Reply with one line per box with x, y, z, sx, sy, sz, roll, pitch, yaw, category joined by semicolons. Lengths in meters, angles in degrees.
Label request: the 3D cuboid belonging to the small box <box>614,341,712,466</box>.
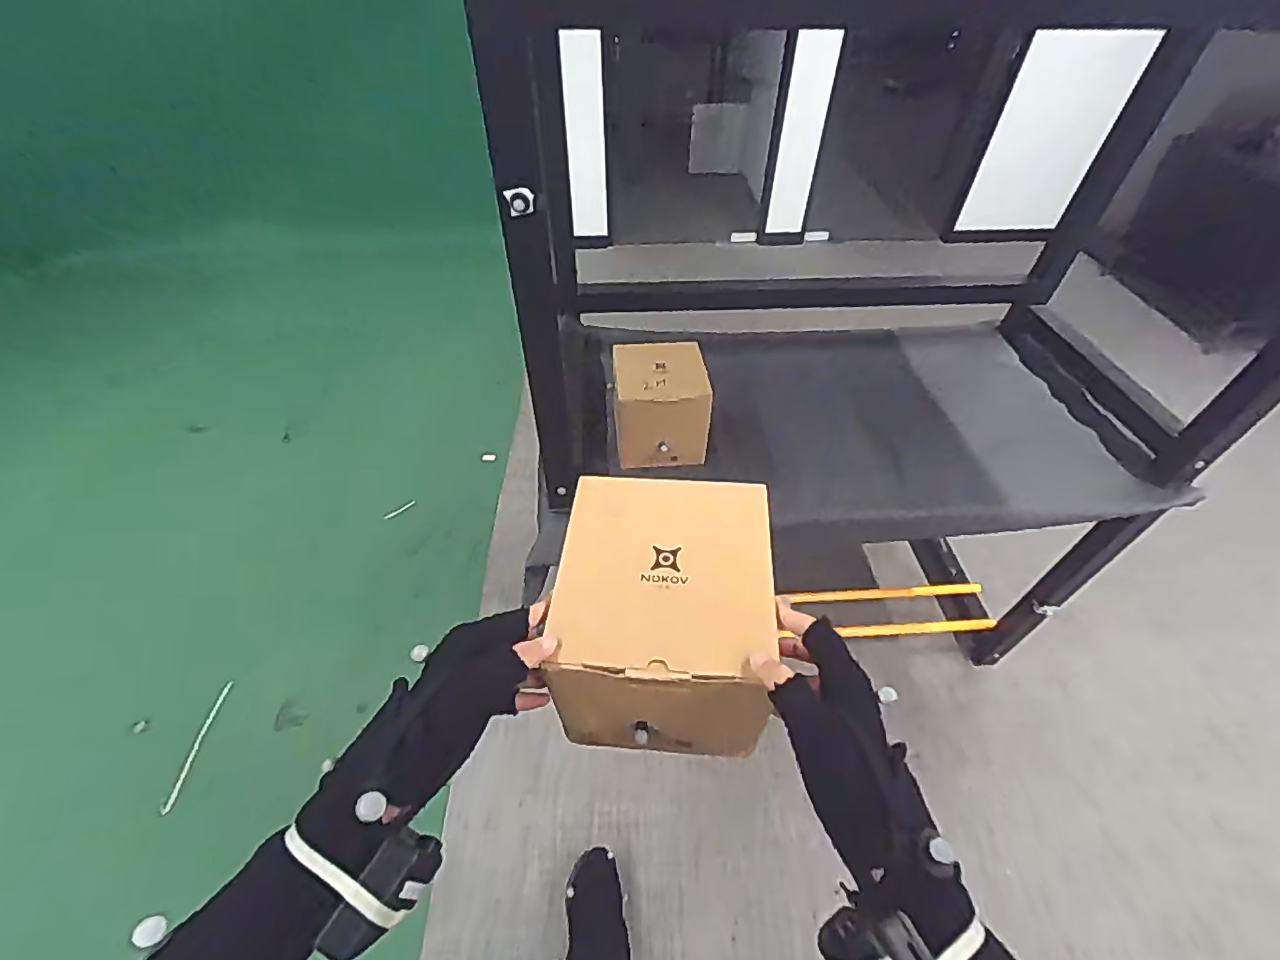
0.035;-0.147;1.040;0.168;0.176;0.179;-4;46;-4;small box
